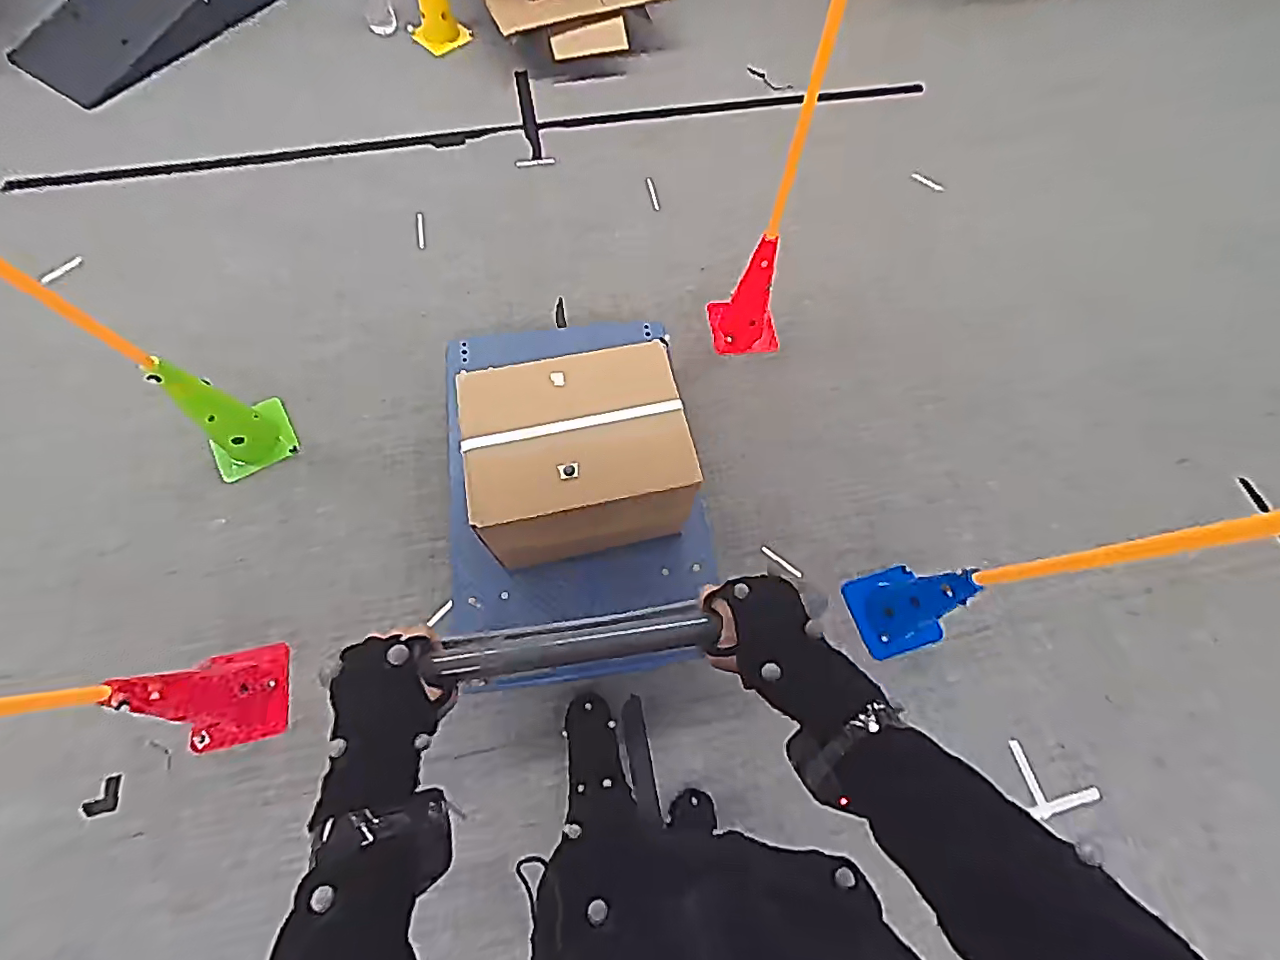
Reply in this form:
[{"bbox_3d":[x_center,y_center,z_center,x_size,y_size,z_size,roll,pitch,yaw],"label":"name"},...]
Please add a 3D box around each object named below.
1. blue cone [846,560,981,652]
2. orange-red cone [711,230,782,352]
[{"bbox_3d":[0.638,0.255,1.205,0.193,0.380,0.192,-14,67,-8],"label":"blue cone"},{"bbox_3d":[0.333,-0.546,1.514,0.199,0.360,0.198,-3,68,-5],"label":"orange-red cone"}]
